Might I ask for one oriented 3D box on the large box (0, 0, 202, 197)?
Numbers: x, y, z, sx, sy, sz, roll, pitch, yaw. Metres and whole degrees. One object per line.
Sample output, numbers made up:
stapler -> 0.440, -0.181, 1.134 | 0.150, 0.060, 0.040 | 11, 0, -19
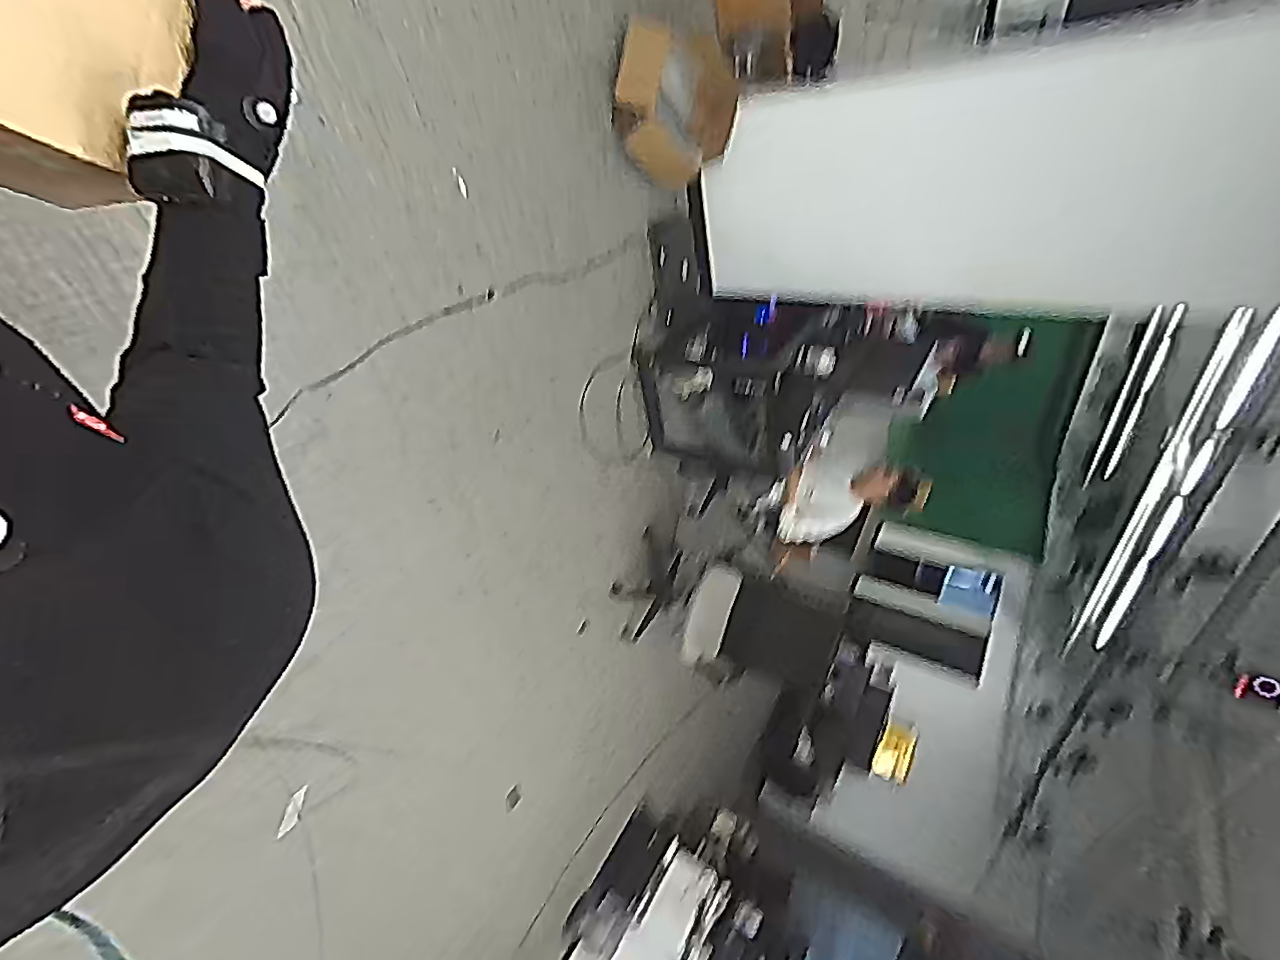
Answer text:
large box -> -0.564, -0.423, 0.324 | 0.408, 0.320, 0.320 | 5, 99, -60
